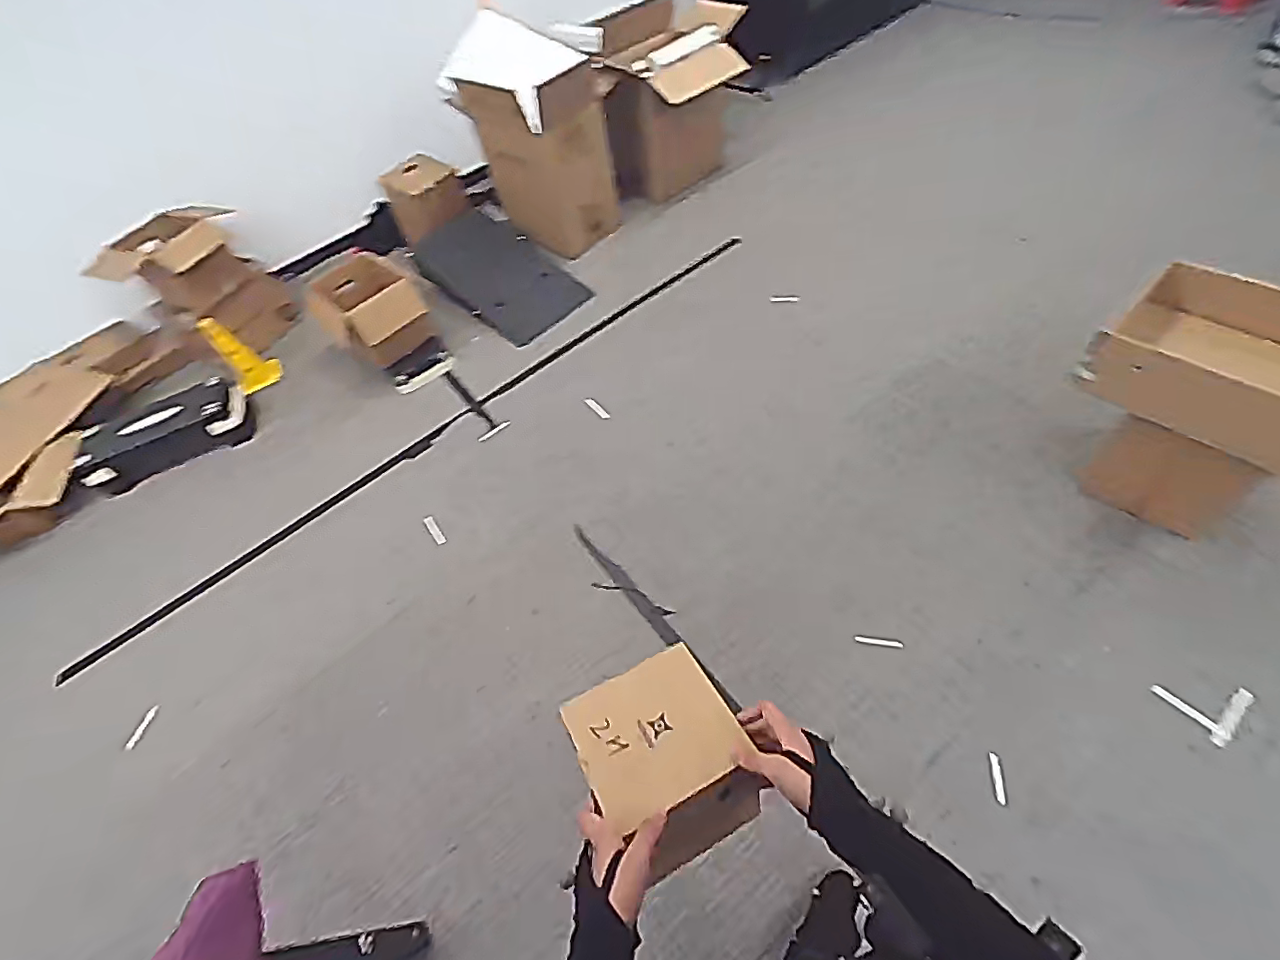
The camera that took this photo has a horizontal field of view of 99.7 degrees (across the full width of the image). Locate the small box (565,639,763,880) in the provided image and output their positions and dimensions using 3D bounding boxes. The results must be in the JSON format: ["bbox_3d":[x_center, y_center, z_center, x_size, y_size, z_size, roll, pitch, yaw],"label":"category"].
[{"bbox_3d":[0.030,0.336,0.659,0.179,0.176,0.168,-23,40,-15],"label":"small box"}]
